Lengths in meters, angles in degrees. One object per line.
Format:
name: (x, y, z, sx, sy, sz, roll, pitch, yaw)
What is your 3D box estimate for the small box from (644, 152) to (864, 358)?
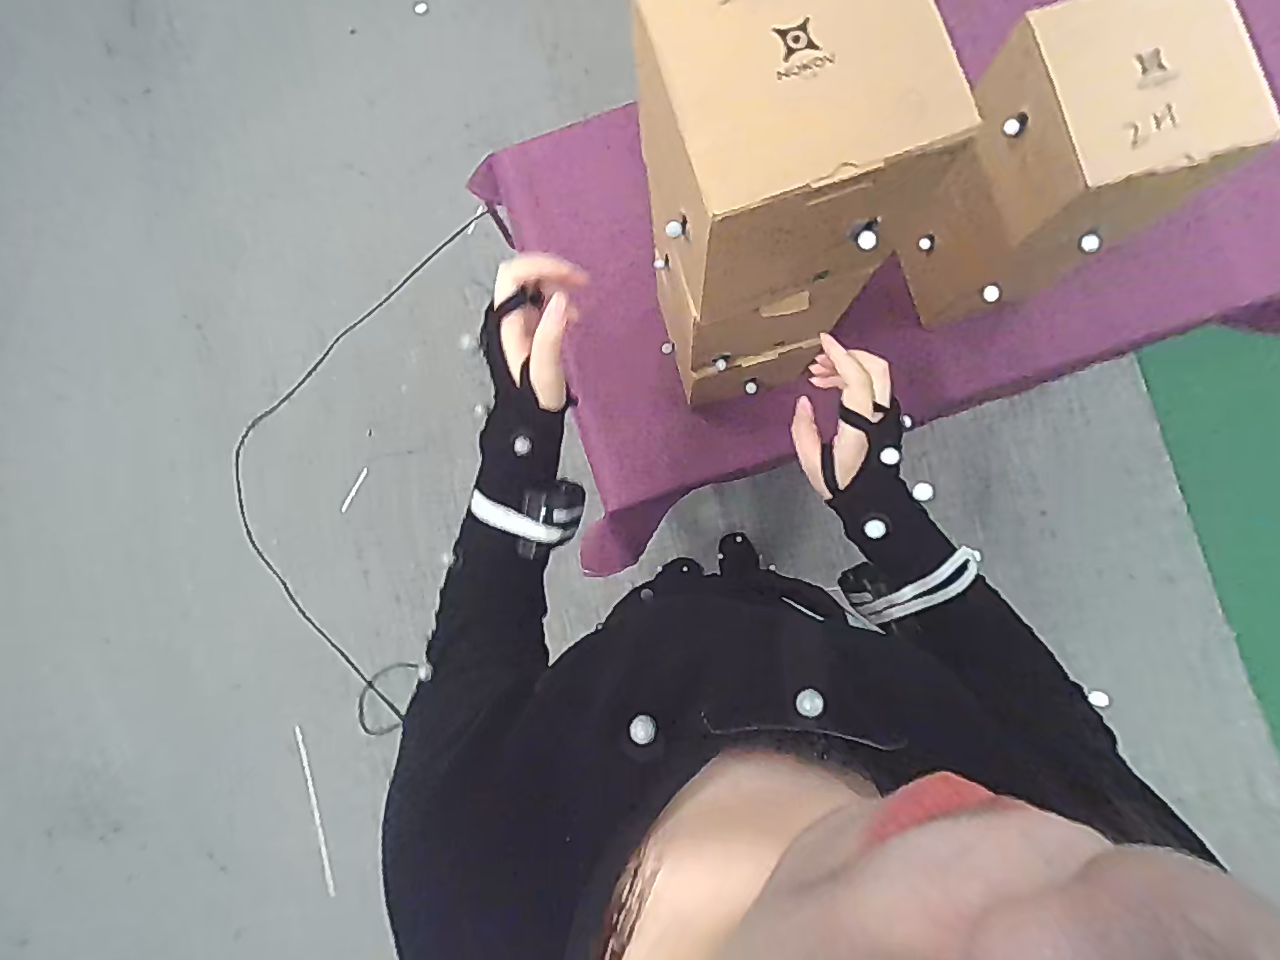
small box: (0.107, -0.241, 0.565, 0.168, 0.176, 0.179, -15, 84, 2)

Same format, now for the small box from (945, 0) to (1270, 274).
small box: (0.442, -0.344, 0.550, 0.168, 0.176, 0.179, -14, 85, 3)

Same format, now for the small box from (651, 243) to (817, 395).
small box: (0.117, -0.222, 0.729, 0.168, 0.176, 0.179, -15, 86, 2)

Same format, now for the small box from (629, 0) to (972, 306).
small box: (0.098, -0.250, 0.403, 0.168, 0.176, 0.179, -17, 85, 2)
